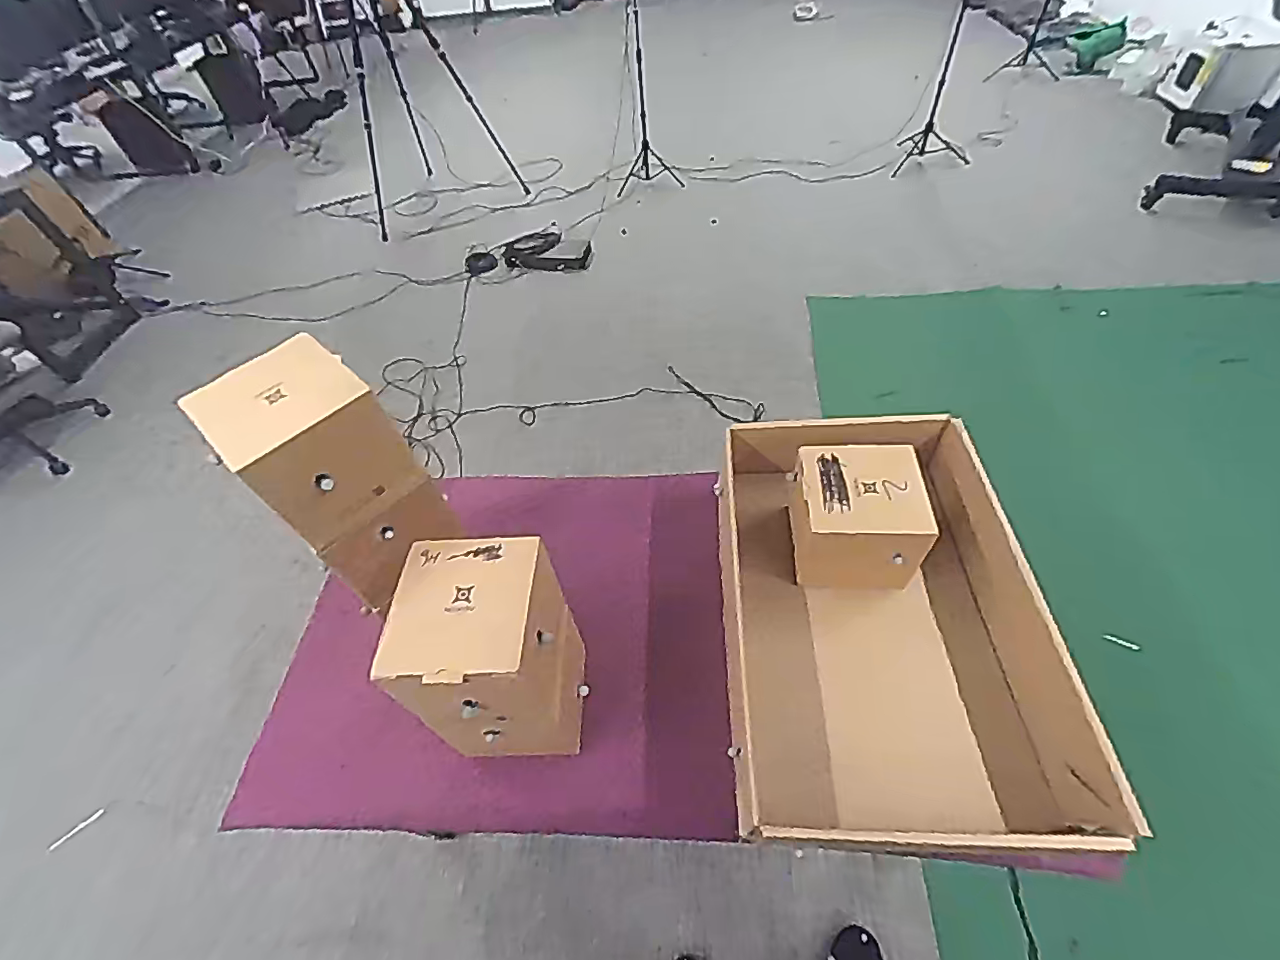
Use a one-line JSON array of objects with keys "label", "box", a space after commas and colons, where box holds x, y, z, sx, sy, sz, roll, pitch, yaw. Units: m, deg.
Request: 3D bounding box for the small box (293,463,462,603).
[{"label": "small box", "box": [-0.403, 0.052, 0.817, 0.168, 0.176, 0.179, 37, 63, 28]}]

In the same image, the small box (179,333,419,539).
[{"label": "small box", "box": [-0.419, -0.049, 0.692, 0.179, 0.176, 0.168, 34, 63, 27]}]

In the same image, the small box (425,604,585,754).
[{"label": "small box", "box": [-0.186, 0.300, 0.804, 0.179, 0.176, 0.168, -3, 50, 3]}]

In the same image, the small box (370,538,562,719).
[{"label": "small box", "box": [-0.199, 0.192, 0.682, 0.168, 0.176, 0.179, -2, 51, 4]}]
